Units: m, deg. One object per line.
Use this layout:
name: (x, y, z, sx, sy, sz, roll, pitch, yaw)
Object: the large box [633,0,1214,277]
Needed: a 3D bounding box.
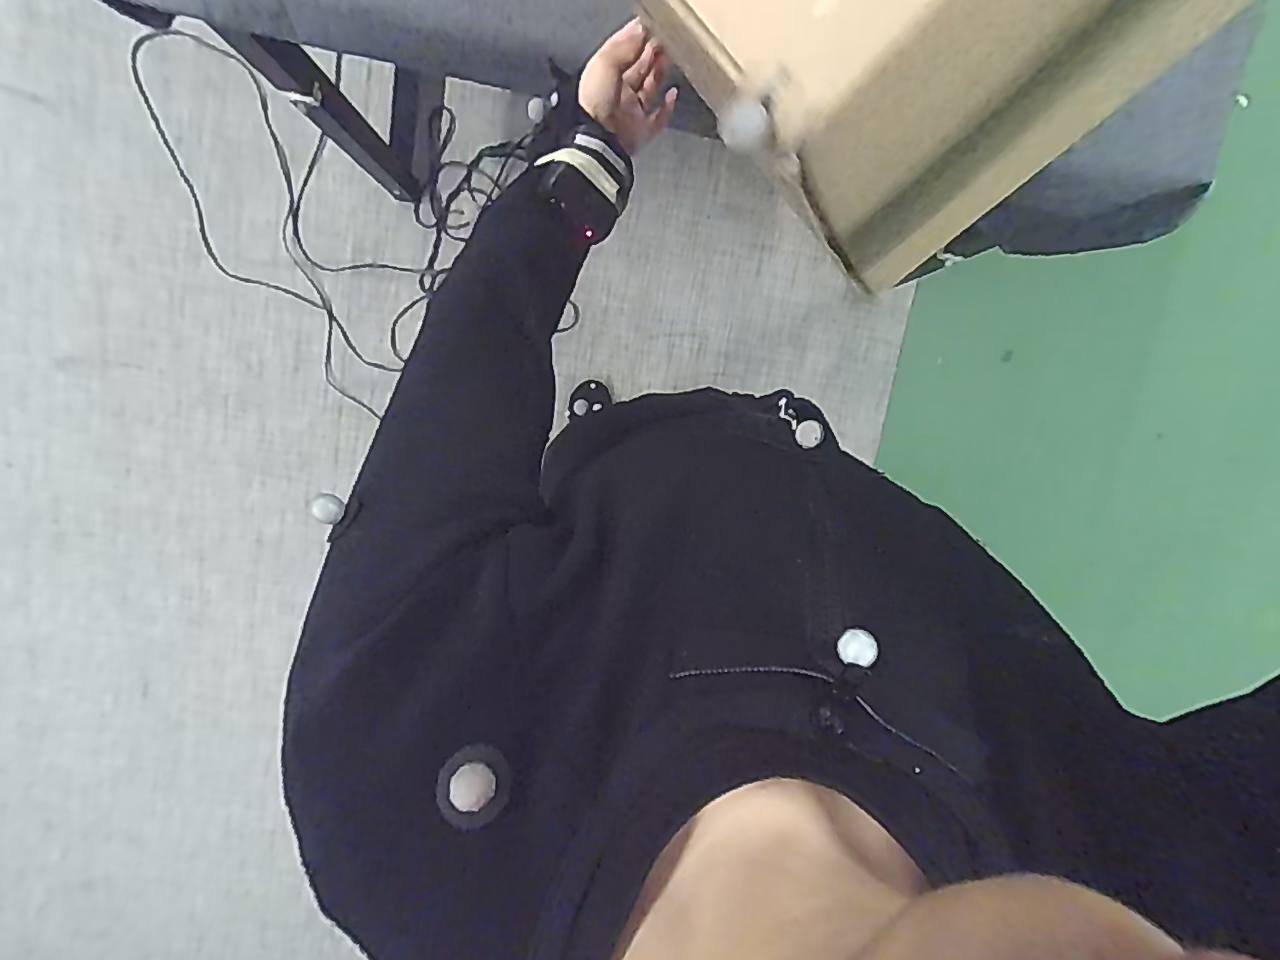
large box: (0.169, -0.360, 0.225, 0.408, 0.320, 0.320, -41, 80, 29)
